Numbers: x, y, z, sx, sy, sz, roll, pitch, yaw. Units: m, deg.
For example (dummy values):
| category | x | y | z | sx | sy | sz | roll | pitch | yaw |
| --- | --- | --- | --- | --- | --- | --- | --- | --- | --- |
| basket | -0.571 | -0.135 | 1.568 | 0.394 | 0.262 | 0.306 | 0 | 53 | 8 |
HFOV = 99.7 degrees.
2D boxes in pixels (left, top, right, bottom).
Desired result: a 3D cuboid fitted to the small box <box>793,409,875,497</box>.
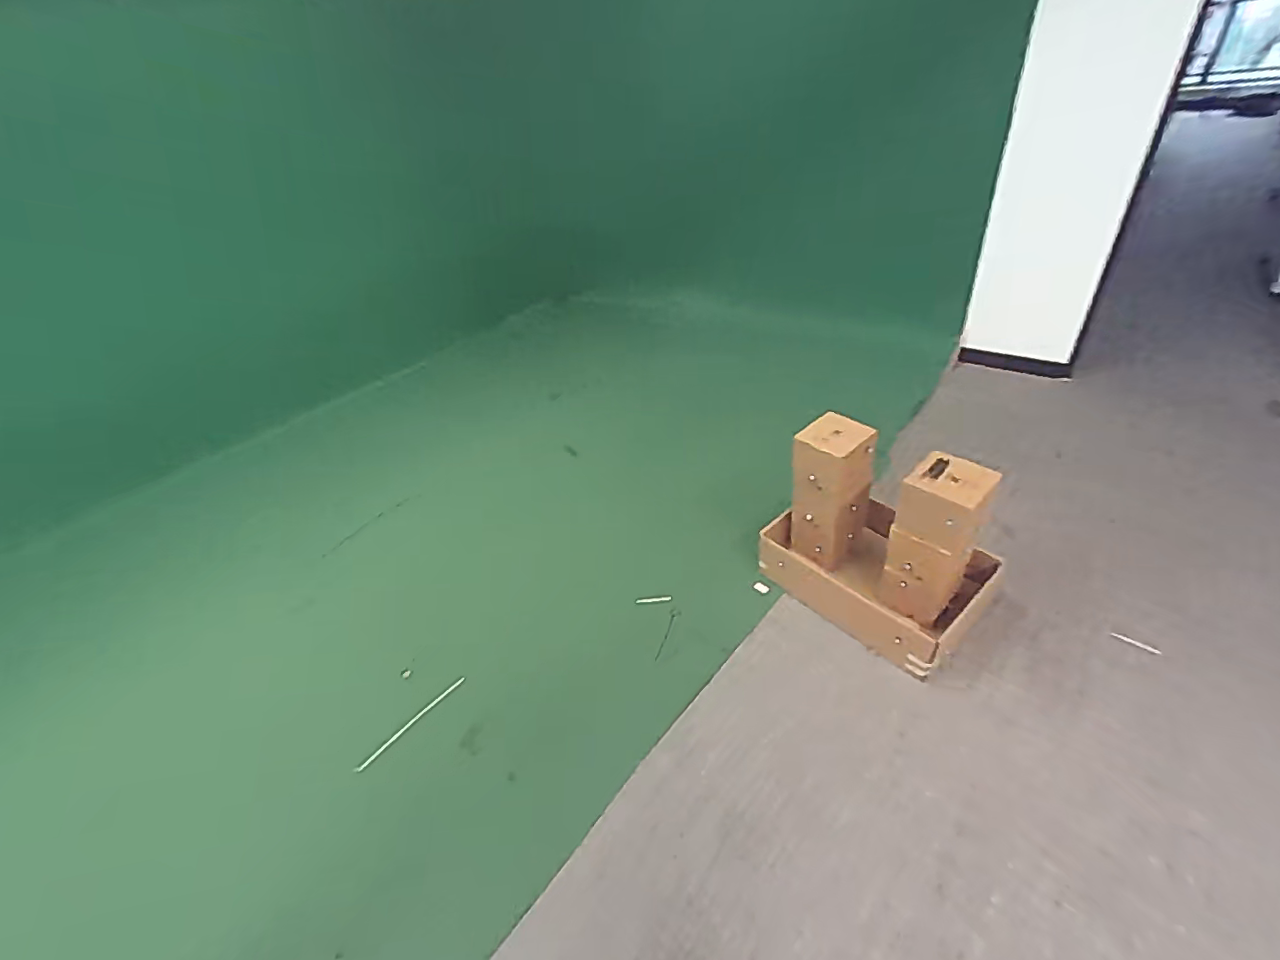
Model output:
| category | x | y | z | sx | sy | sz | roll | pitch | yaw |
| --- | --- | --- | --- | --- | --- | --- | --- | --- | --- |
| small box | 0.578 | -0.081 | 1.636 | 0.179 | 0.176 | 0.168 | -33 | 44 | -24 |

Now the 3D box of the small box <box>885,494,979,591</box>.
| category | x | y | z | sx | sy | sz | roll | pitch | yaw |
| --- | --- | --- | --- | --- | --- | --- | --- | --- | --- |
| small box | 0.817 | 0.175 | 1.529 | 0.179 | 0.176 | 0.168 | -34 | 44 | -25 |

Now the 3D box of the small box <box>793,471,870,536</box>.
| category | x | y | z | sx | sy | sz | roll | pitch | yaw |
| --- | --- | --- | --- | --- | --- | --- | --- | --- | --- |
| small box | 0.607 | 0.044 | 1.739 | 0.179 | 0.176 | 0.168 | -32 | 44 | -22 |
